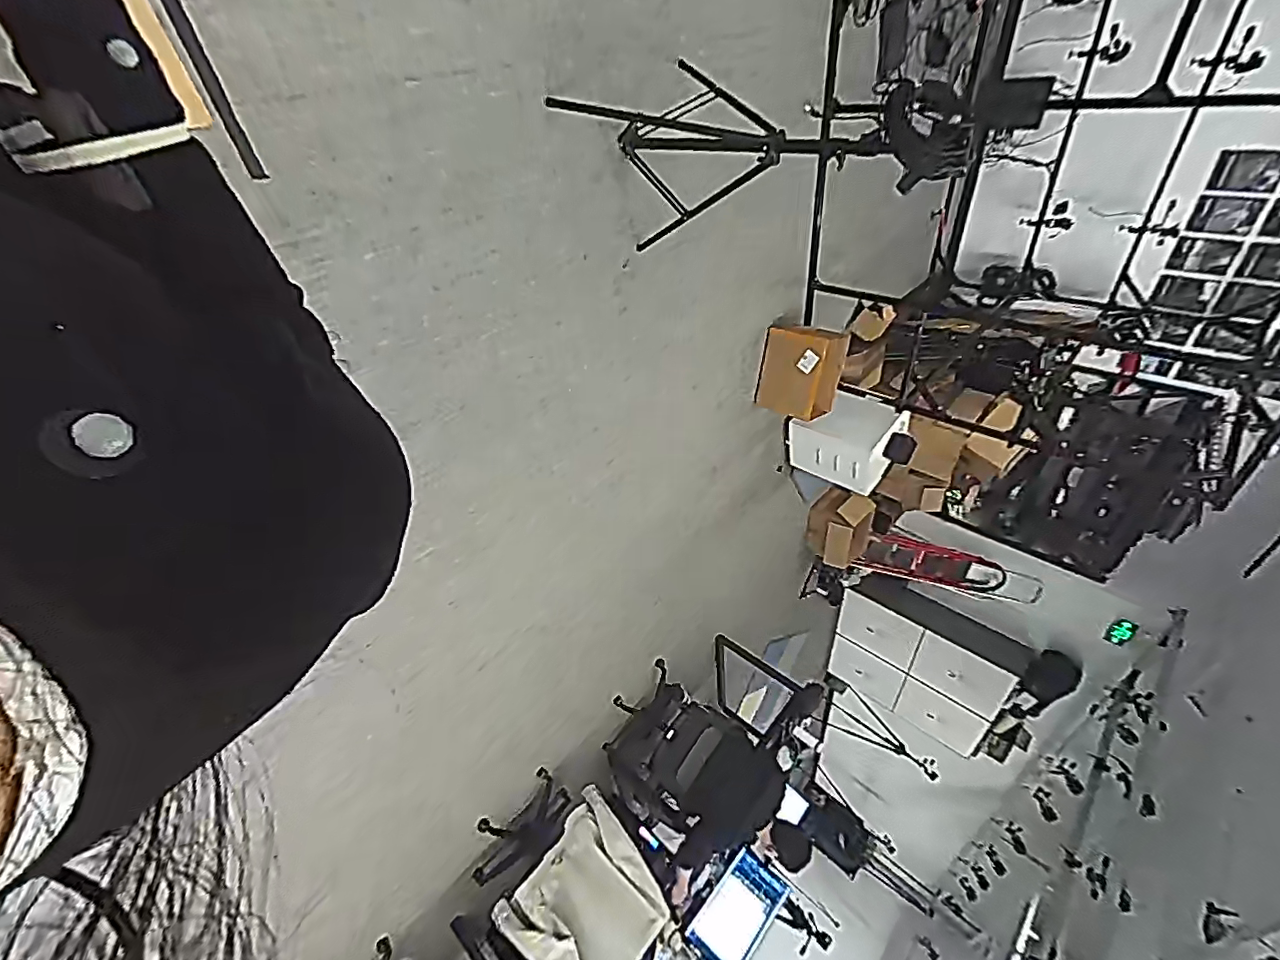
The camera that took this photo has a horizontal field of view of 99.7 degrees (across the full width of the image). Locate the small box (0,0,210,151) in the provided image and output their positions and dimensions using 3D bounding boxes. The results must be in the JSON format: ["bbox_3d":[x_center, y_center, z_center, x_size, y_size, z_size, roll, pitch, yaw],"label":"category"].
[{"bbox_3d":[-0.795,-0.600,0.798,0.168,0.176,0.179,-38,137,-30],"label":"small box"}]

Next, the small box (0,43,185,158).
[{"bbox_3d":[-0.911,-0.658,0.899,0.168,0.176,0.179,-40,139,-28],"label":"small box"}]
